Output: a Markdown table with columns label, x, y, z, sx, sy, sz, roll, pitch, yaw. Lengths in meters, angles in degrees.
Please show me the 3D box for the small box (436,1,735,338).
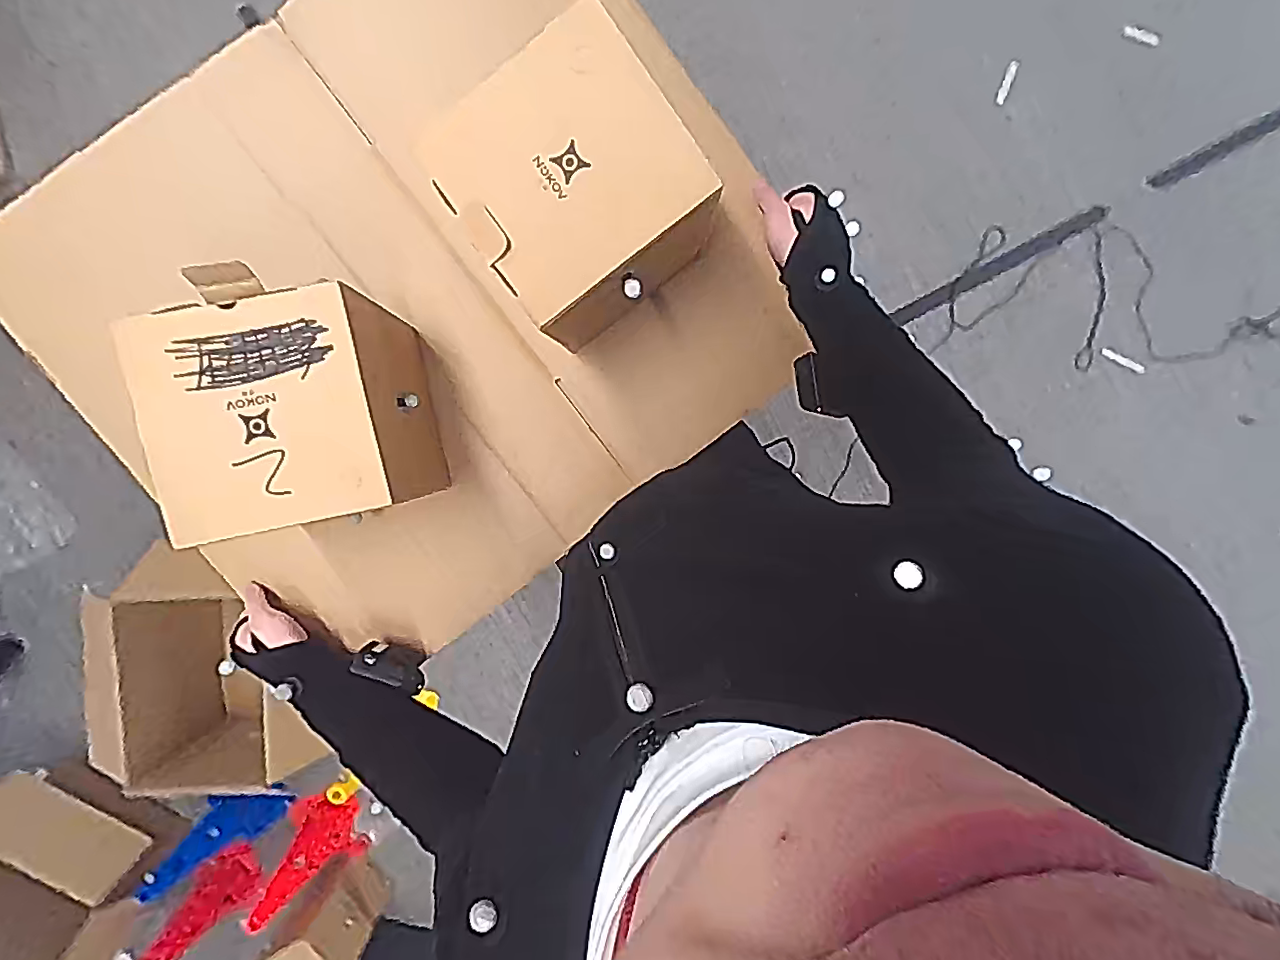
| label | x | y | z | sx | sy | sz | roll | pitch | yaw |
| --- | --- | --- | --- | --- | --- | --- | --- | --- | --- |
| small box | -0.040 | -0.251 | 0.491 | 0.179 | 0.176 | 0.168 | -36 | 95 | 7 |
